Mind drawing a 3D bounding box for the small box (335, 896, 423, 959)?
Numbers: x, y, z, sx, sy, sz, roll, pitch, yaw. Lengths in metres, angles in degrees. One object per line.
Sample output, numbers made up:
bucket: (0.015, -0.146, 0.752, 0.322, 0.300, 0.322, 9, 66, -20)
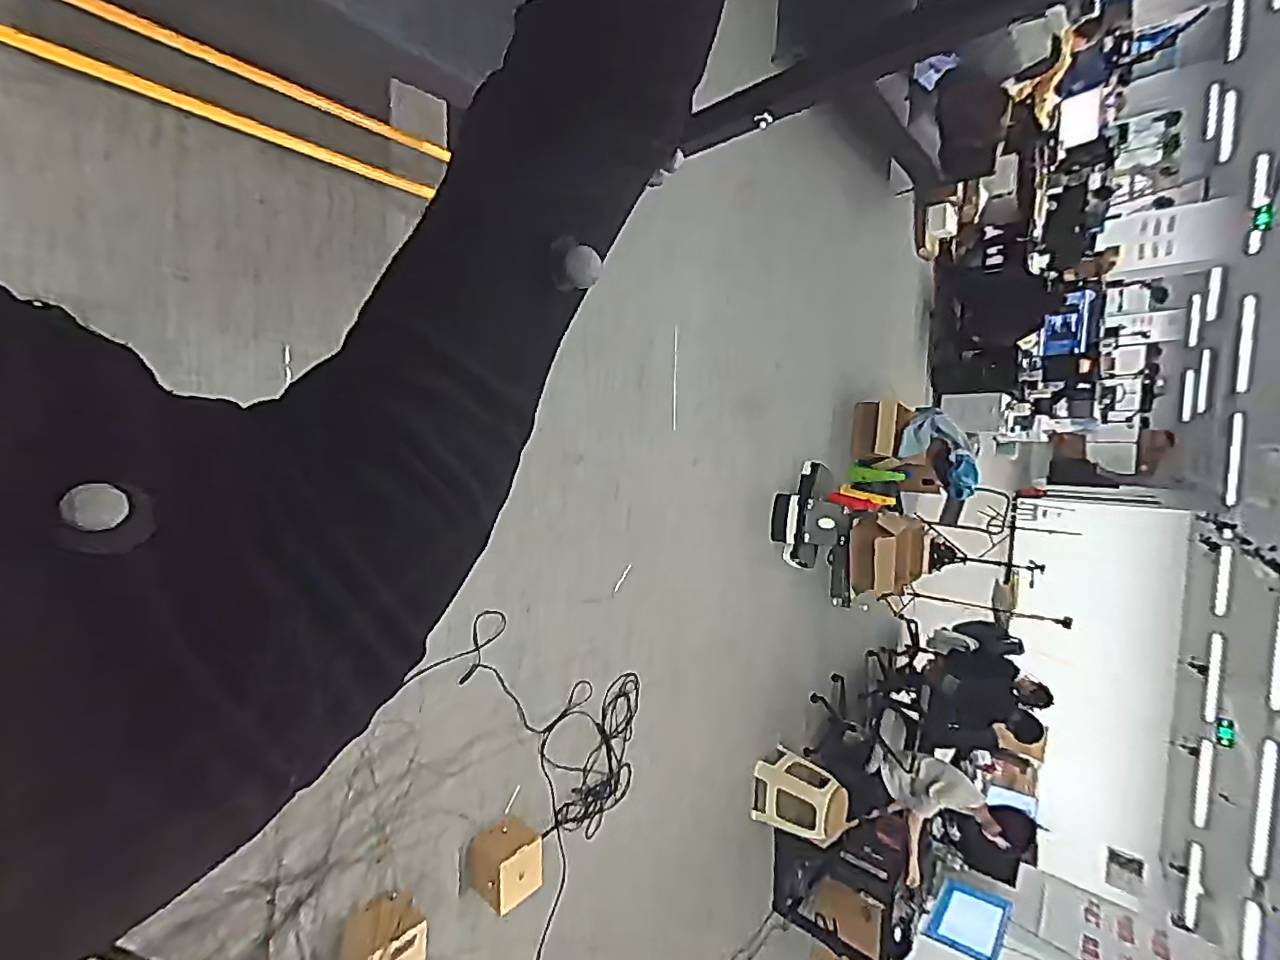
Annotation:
small box: (-0.719, 1.294, 1.484, 0.168, 0.176, 0.179, 3, 91, -49)

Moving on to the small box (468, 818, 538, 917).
small box: (-0.455, 1.270, 1.788, 0.168, 0.176, 0.179, -5, 96, -49)
